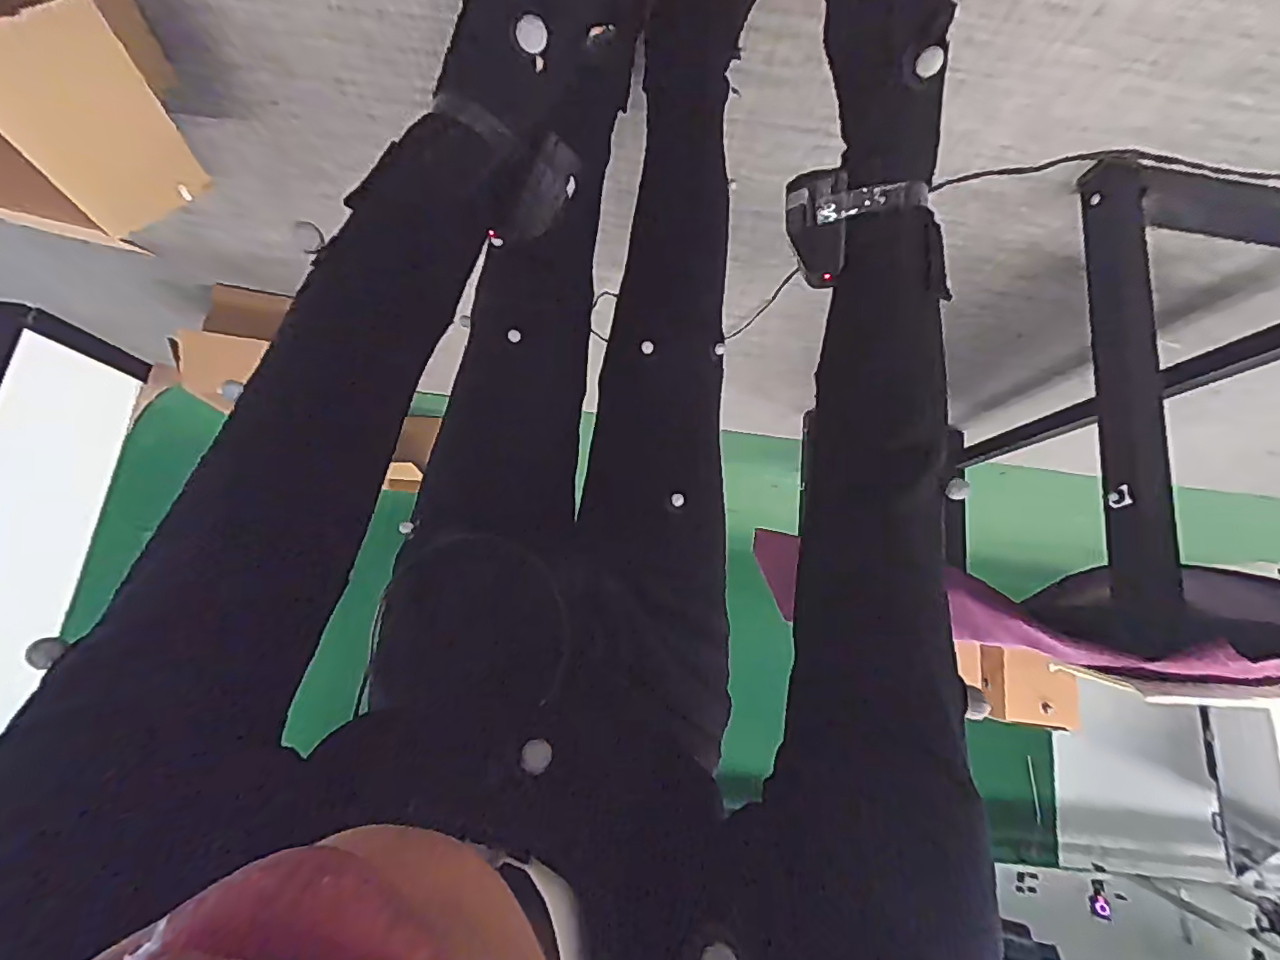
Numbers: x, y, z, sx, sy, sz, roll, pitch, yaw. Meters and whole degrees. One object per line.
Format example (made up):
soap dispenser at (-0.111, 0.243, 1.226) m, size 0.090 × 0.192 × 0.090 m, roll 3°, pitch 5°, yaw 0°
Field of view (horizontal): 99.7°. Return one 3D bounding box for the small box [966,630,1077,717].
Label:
small box at (0.891, 0.454, 1.293) m, size 0.179 × 0.176 × 0.168 m, roll 6°, pitch 168°, yaw -3°
